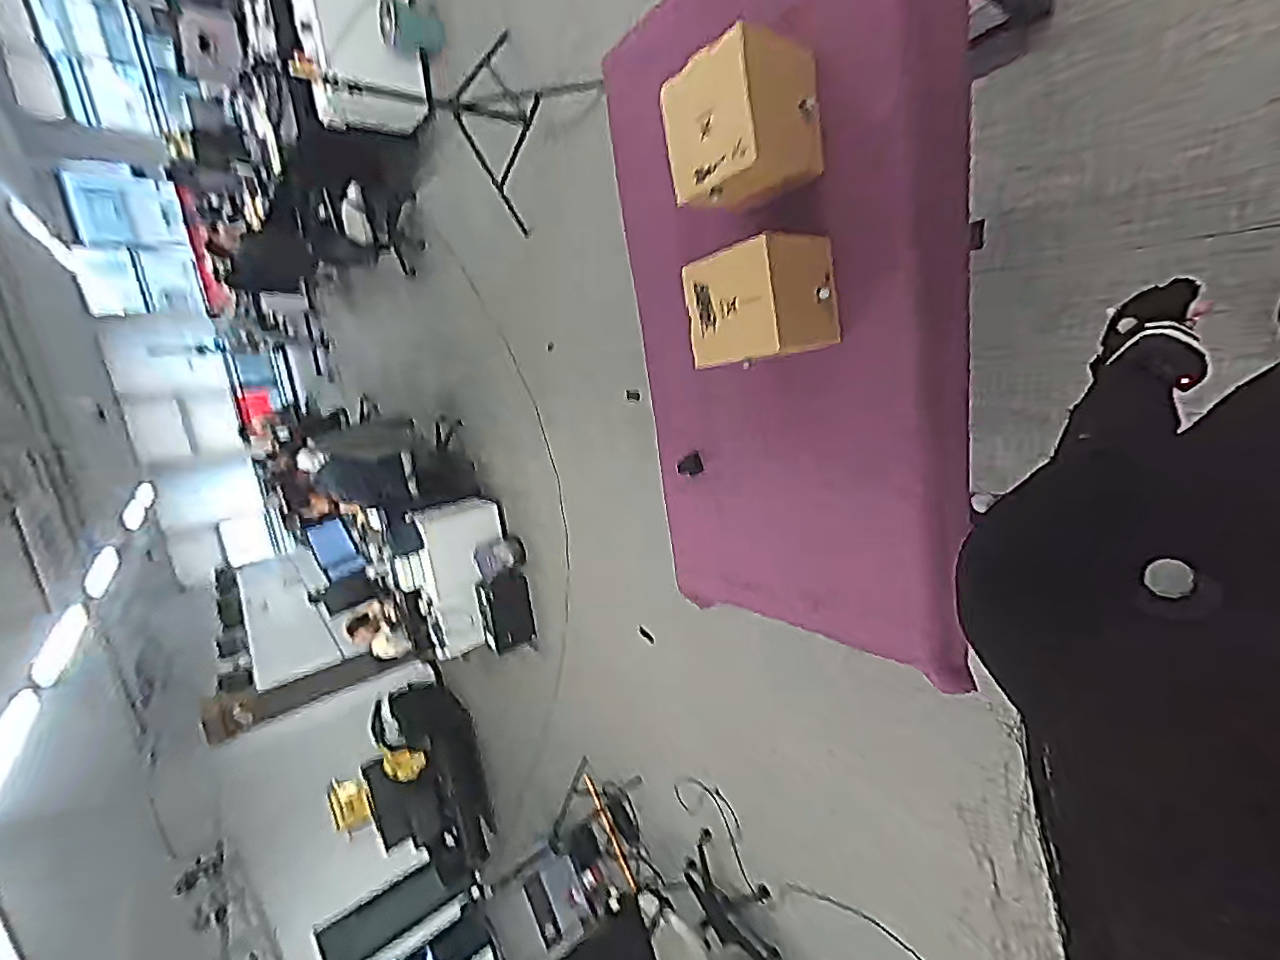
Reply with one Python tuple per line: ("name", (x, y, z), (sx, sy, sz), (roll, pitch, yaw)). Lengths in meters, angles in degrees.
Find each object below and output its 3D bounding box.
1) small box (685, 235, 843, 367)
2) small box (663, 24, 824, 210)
("small box", (0.202, -0.285, 0.884), (0.179, 0.176, 0.168), (1, 104, 53))
("small box", (0.162, -0.541, 0.838), (0.168, 0.176, 0.179), (2, 105, 53))
